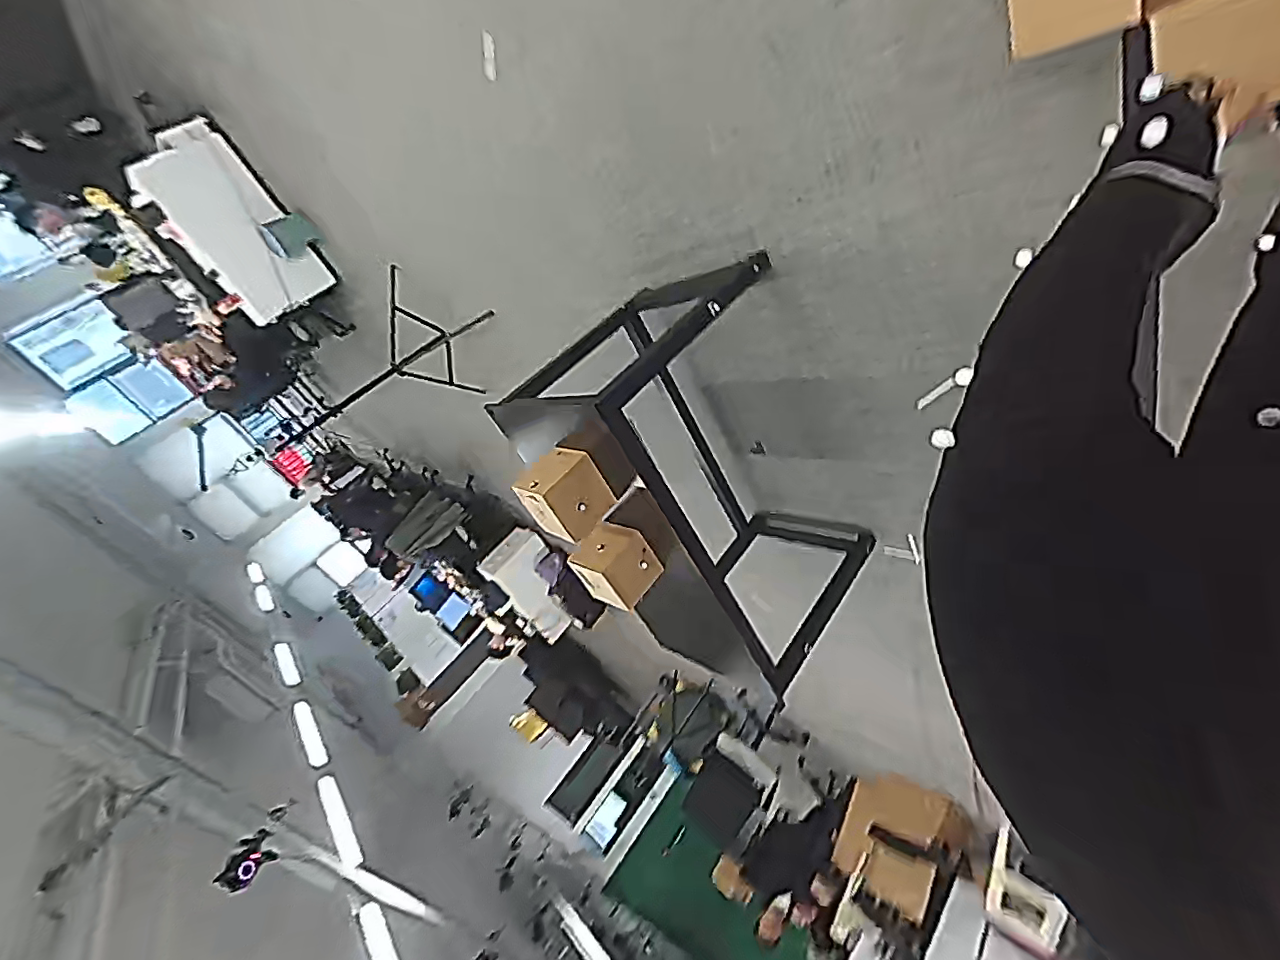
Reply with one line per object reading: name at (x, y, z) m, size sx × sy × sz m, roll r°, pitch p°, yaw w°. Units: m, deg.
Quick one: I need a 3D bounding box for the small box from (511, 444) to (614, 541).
small box at (-0.200, 0.030, 1.439) m, size 0.168 × 0.176 × 0.179 m, roll 12°, pitch 142°, yaw 49°

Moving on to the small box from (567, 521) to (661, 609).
small box at (-0.072, 0.240, 1.576) m, size 0.179 × 0.176 × 0.168 m, roll 9°, pitch 138°, yaw 50°
